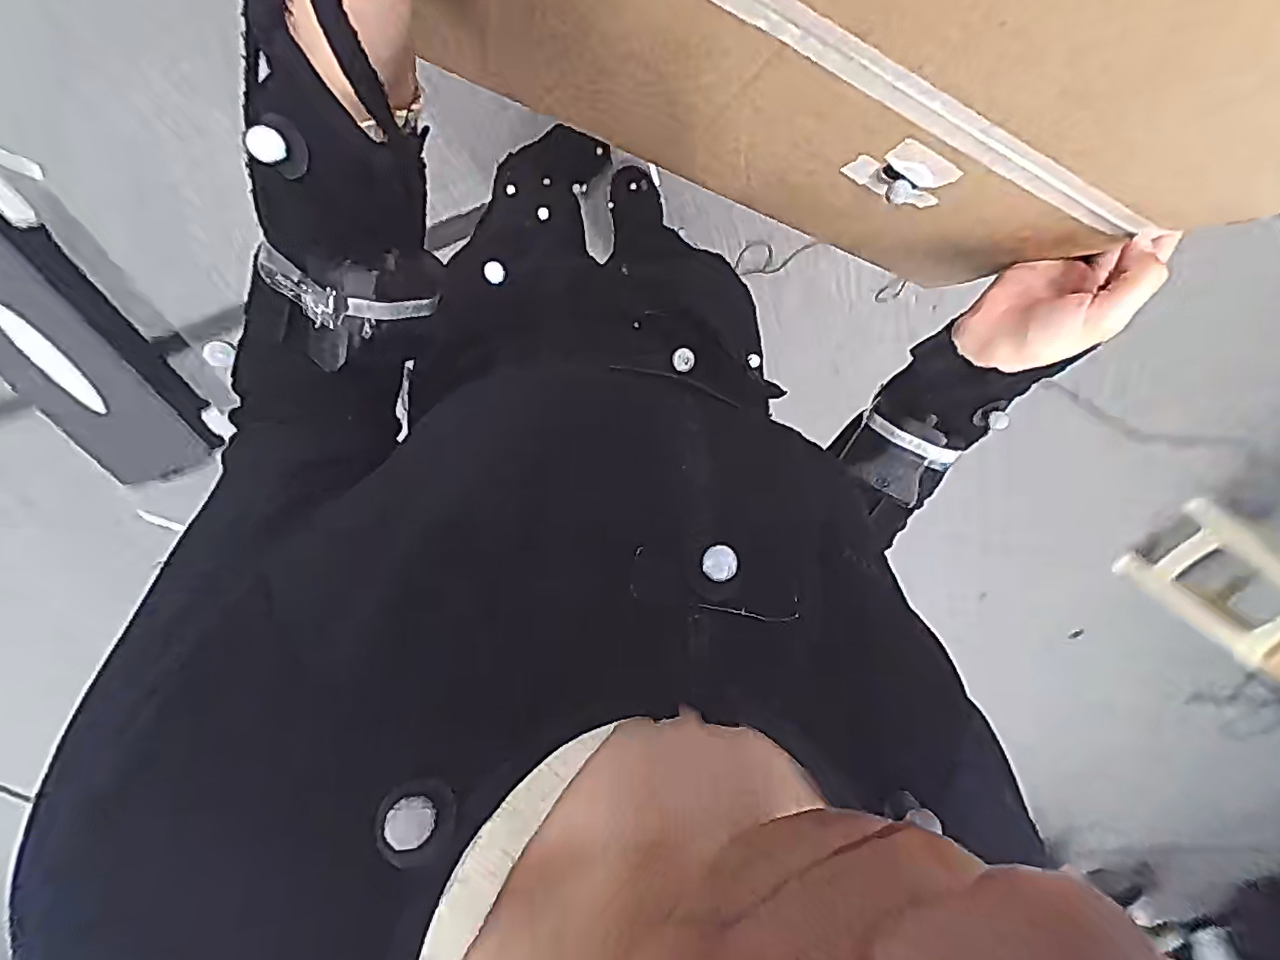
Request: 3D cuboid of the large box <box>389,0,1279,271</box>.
[{"bbox_3d":[0.121,-0.329,0.221,0.408,0.320,0.320,11,96,-19],"label":"large box"}]
